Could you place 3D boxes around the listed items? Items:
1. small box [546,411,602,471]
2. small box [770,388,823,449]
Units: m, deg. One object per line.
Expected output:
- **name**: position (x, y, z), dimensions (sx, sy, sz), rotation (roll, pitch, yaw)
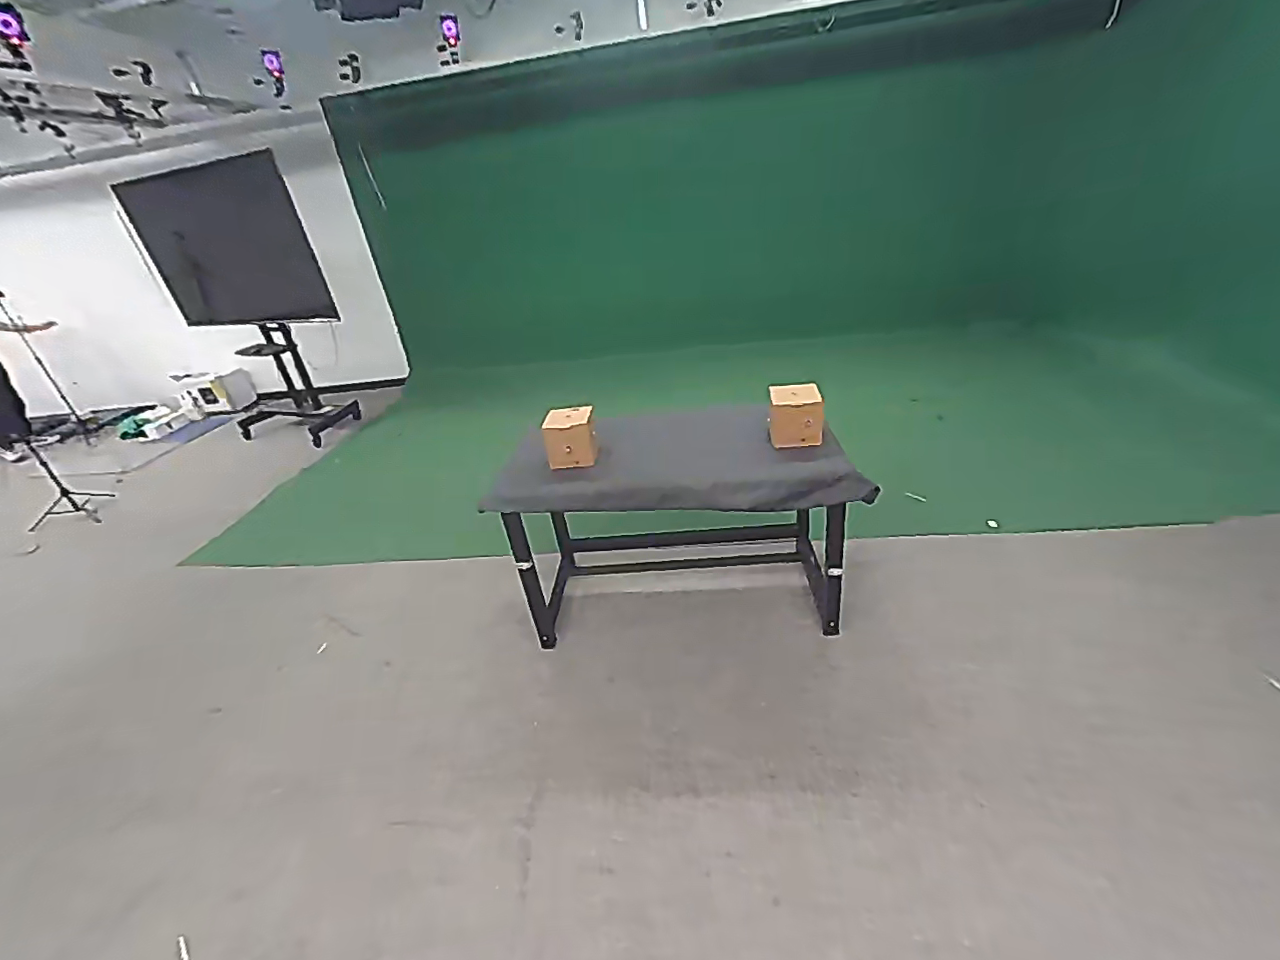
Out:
- **small box**: position (-0.242, -0.142, 2.027), dimensions (0.168, 0.176, 0.179), rotation (-5, 29, 6)
- **small box**: position (0.558, -0.217, 1.936), dimensions (0.168, 0.176, 0.179), rotation (-3, 28, 9)
